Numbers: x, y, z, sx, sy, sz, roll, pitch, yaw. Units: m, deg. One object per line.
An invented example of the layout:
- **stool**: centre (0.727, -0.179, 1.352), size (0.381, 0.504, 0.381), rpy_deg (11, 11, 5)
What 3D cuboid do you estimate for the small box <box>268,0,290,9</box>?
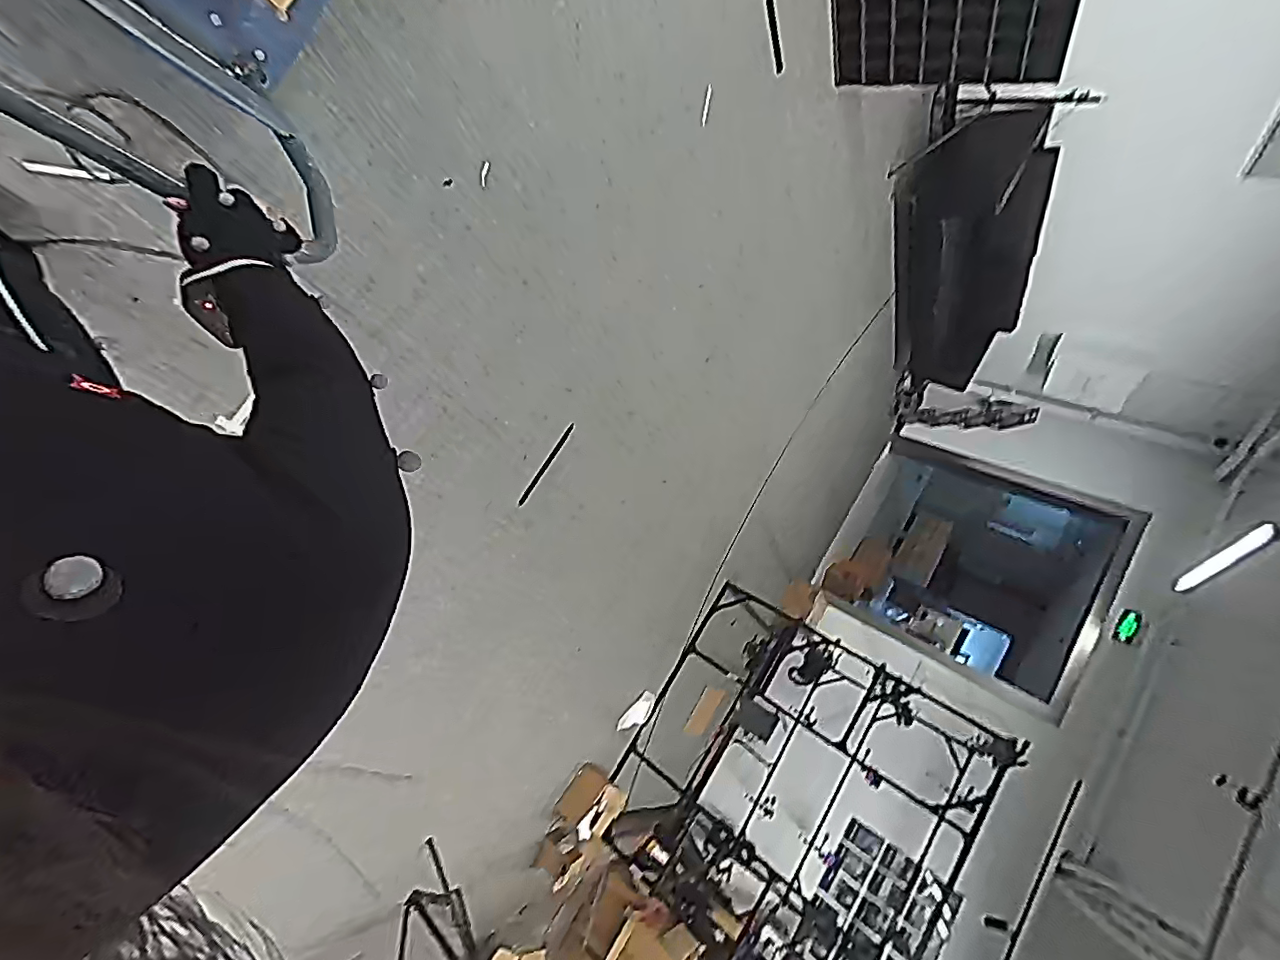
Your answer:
- **small box**: centre (-0.595, -0.870, 0.811), size (0.168, 0.176, 0.179), rpy_deg (-46, 150, 7)
